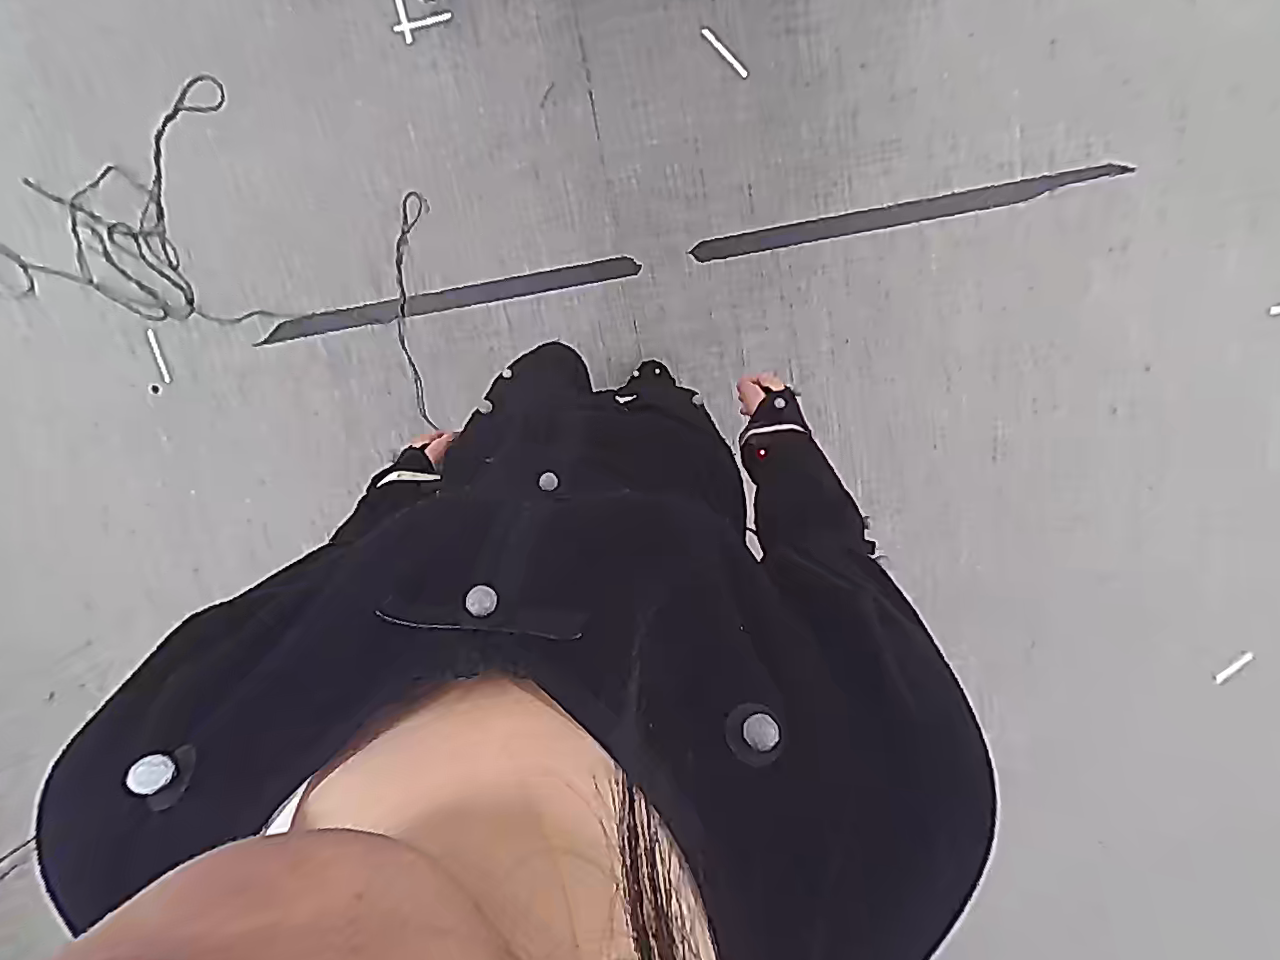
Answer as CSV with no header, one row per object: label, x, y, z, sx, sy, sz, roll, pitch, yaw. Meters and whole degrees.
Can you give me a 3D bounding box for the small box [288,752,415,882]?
small box,-0.685,0.804,1.307,0.179,0.176,0.168,38,100,-6
